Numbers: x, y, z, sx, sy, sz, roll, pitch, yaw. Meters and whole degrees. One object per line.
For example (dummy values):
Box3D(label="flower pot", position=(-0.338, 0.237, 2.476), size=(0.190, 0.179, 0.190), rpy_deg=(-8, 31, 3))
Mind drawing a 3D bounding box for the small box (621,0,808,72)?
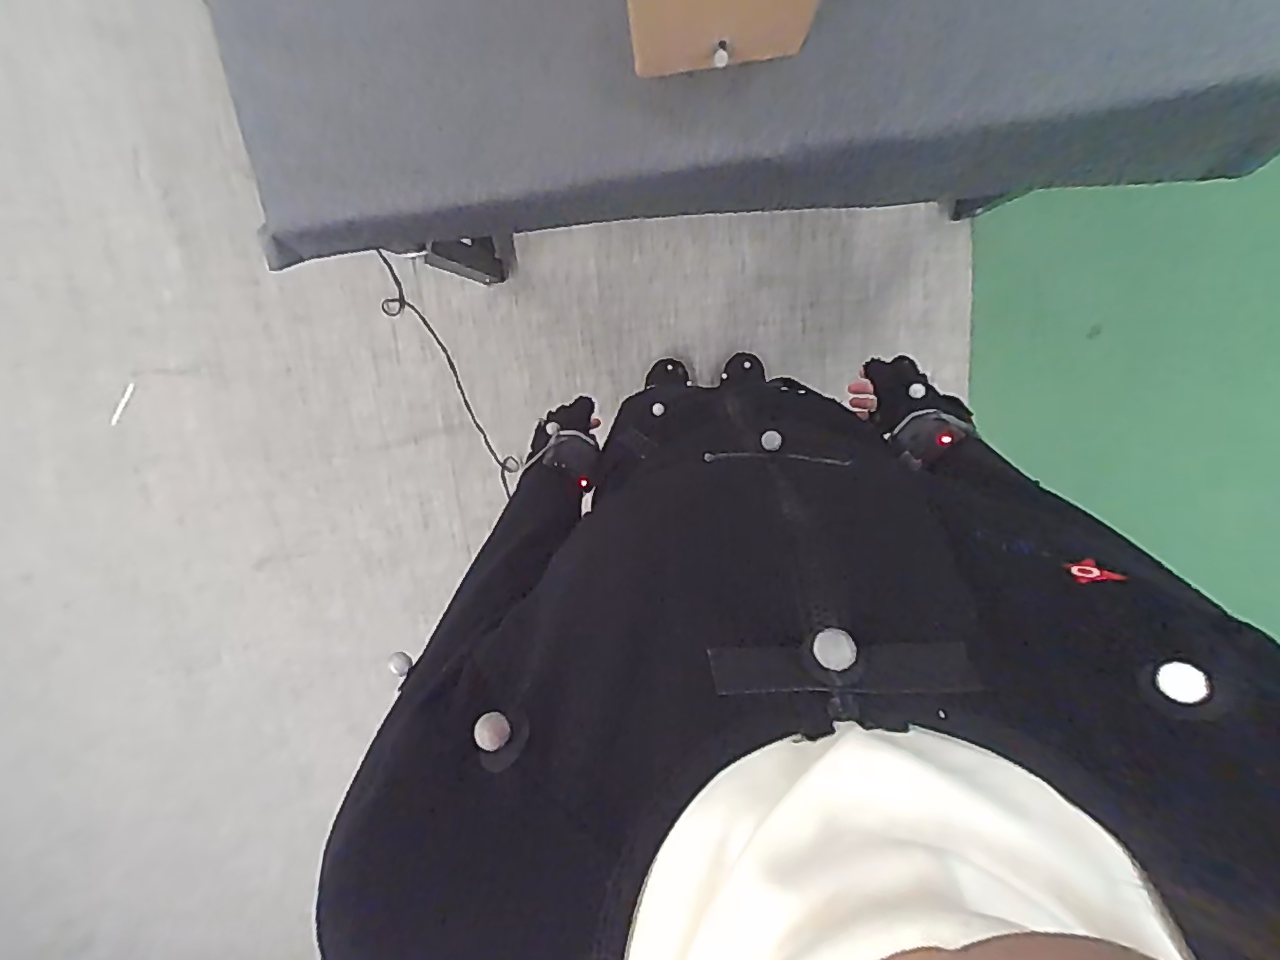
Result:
Box3D(label="small box", position=(0.065, -0.509, 0.488), size=(0.179, 0.176, 0.168), rpy_deg=(-5, 103, 5))
